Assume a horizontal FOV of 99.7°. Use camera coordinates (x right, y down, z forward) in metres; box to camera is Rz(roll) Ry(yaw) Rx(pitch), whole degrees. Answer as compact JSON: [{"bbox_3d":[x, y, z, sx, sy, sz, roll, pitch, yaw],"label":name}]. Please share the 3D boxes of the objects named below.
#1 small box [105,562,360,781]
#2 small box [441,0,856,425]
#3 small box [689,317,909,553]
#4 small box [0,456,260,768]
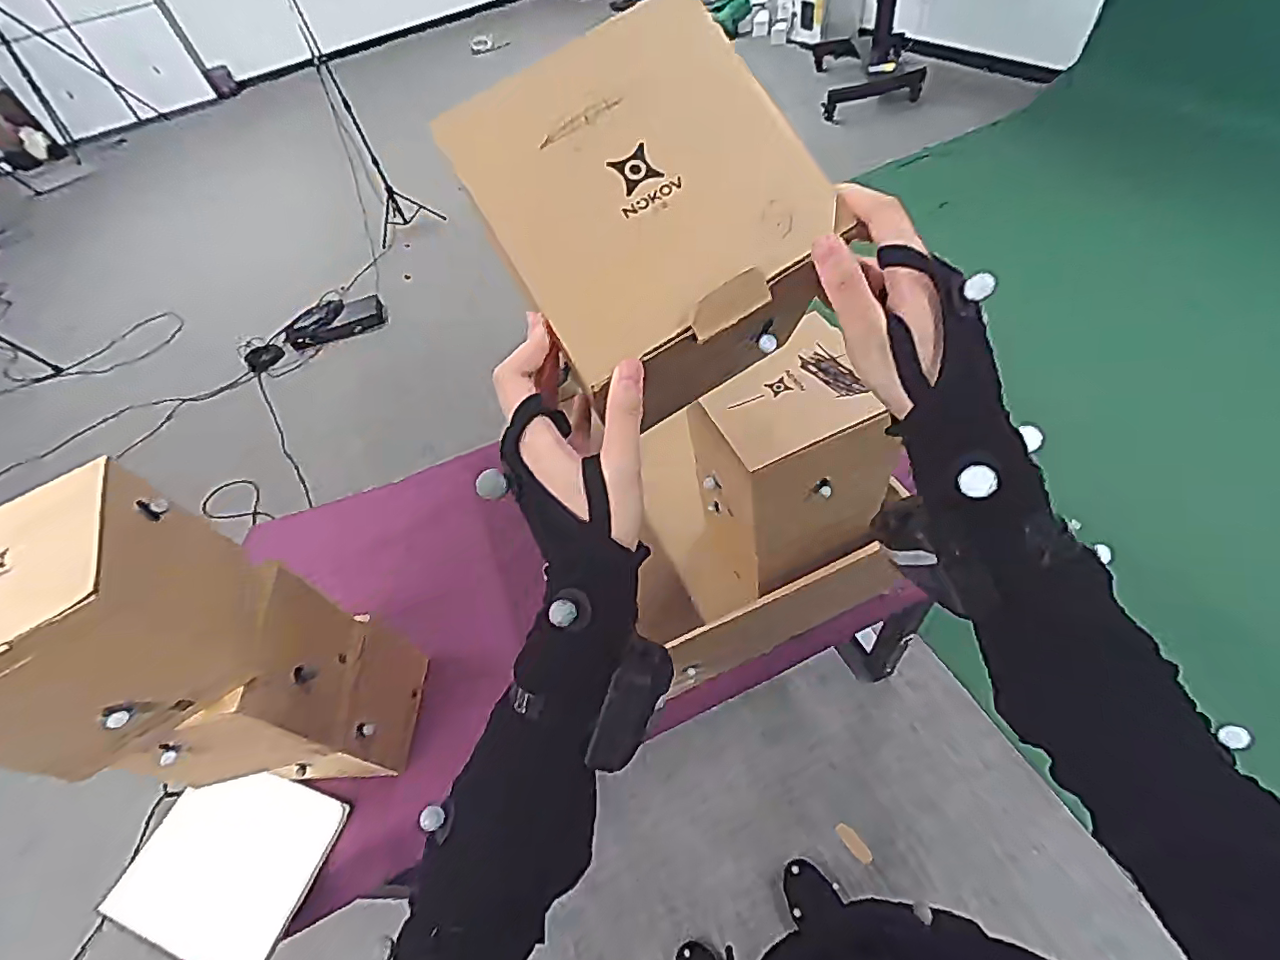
[{"bbox_3d":[-0.447,0.218,0.606,0.179,0.176,0.168,-14,51,1],"label":"small box"},{"bbox_3d":[0.006,-0.152,0.367,0.168,0.176,0.179,-31,82,-1],"label":"small box"},{"bbox_3d":[0.166,-0.048,0.619,0.179,0.176,0.168,-24,51,-4],"label":"small box"},{"bbox_3d":[-0.480,0.119,0.479,0.168,0.176,0.179,-32,53,-12],"label":"small box"}]
